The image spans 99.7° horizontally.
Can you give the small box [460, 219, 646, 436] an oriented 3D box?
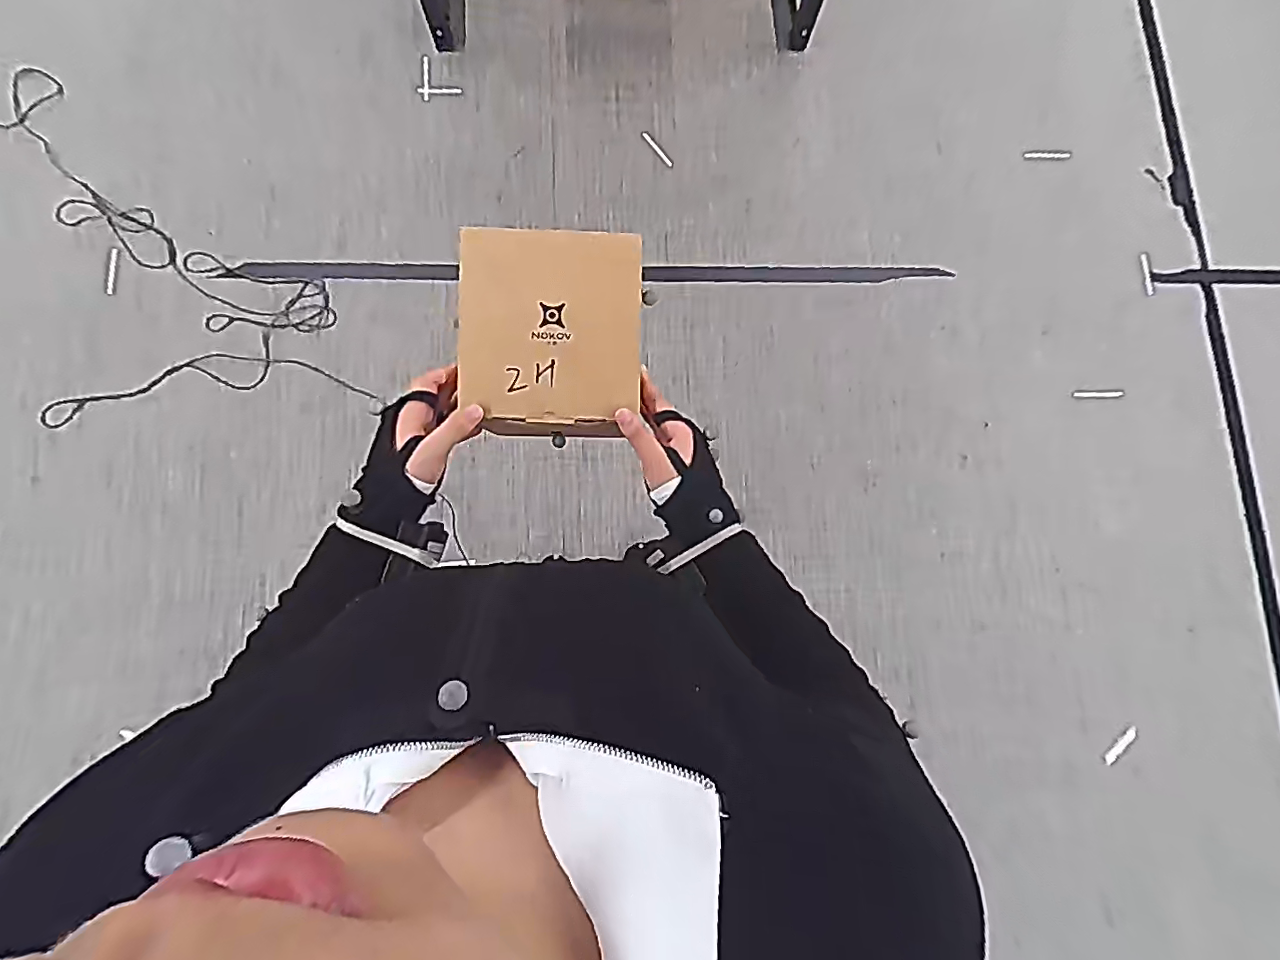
[{"bbox_3d":[-0.082,-0.145,0.569,0.168,0.176,0.179,1,89,-3],"label":"small box"}]
